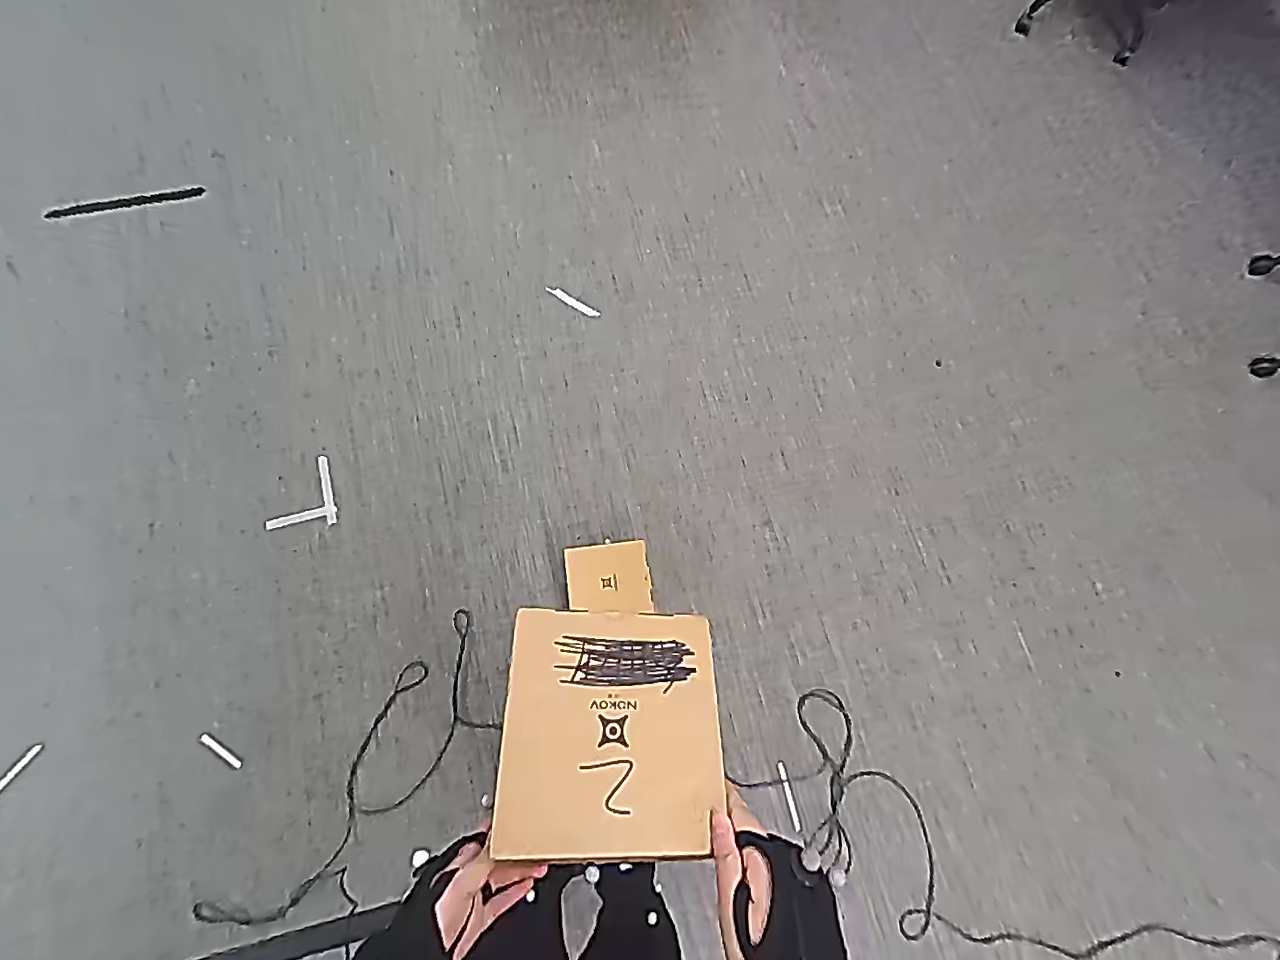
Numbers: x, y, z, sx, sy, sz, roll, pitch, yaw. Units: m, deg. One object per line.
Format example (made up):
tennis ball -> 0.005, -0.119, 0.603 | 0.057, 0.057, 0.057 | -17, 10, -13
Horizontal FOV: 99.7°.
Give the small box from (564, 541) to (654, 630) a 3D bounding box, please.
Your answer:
small box -> -0.069, 0.240, 1.205 | 0.179, 0.176, 0.168 | -6, 74, -6
